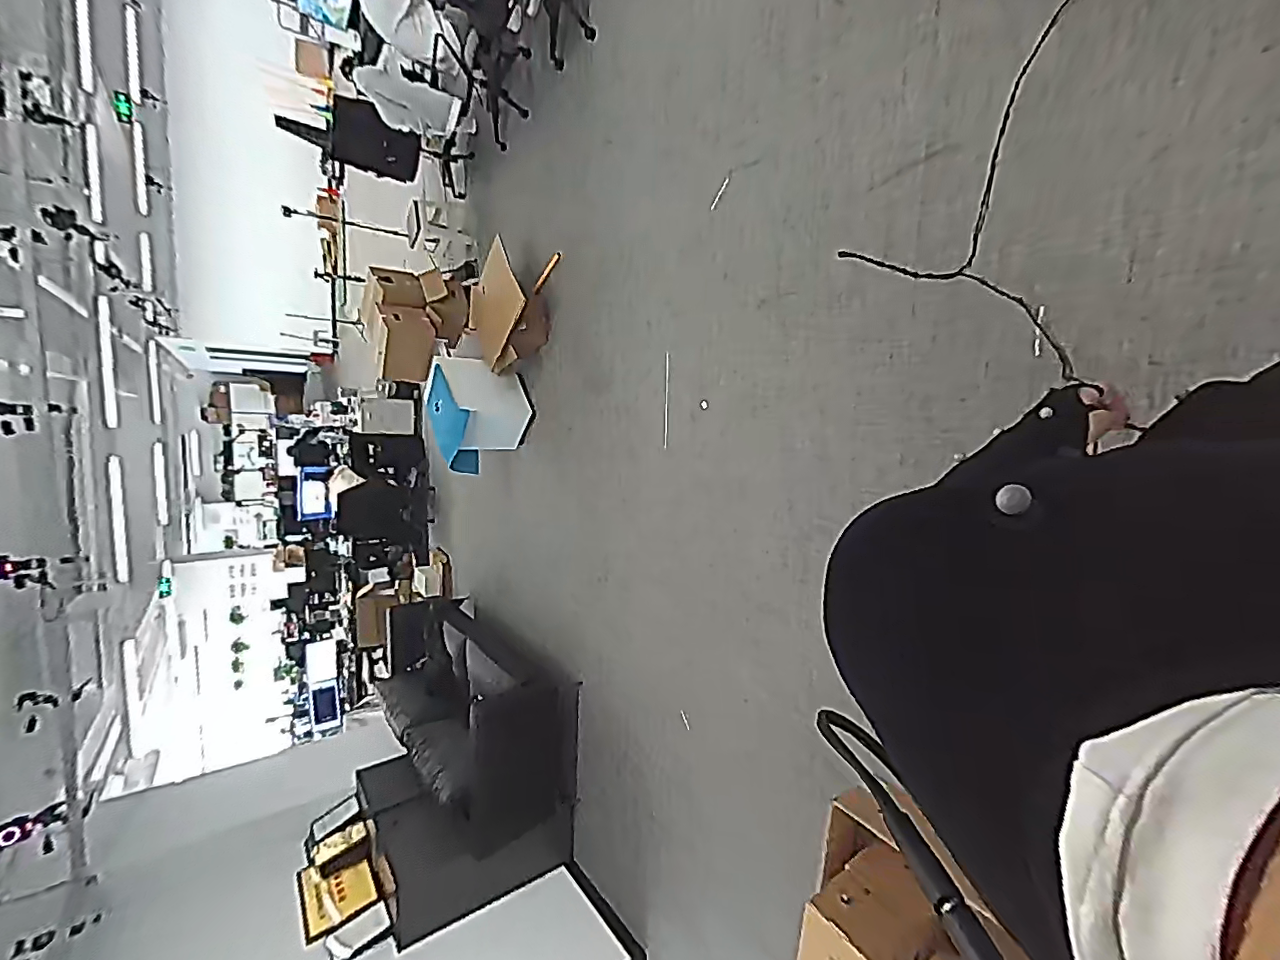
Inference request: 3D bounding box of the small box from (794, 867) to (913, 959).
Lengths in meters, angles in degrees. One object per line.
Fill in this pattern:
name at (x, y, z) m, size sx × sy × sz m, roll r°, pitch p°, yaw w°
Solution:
small box at (0.461, 0.993, 1.164) m, size 0.168 × 0.176 × 0.179 m, roll 18°, pitch 107°, yaw 52°
